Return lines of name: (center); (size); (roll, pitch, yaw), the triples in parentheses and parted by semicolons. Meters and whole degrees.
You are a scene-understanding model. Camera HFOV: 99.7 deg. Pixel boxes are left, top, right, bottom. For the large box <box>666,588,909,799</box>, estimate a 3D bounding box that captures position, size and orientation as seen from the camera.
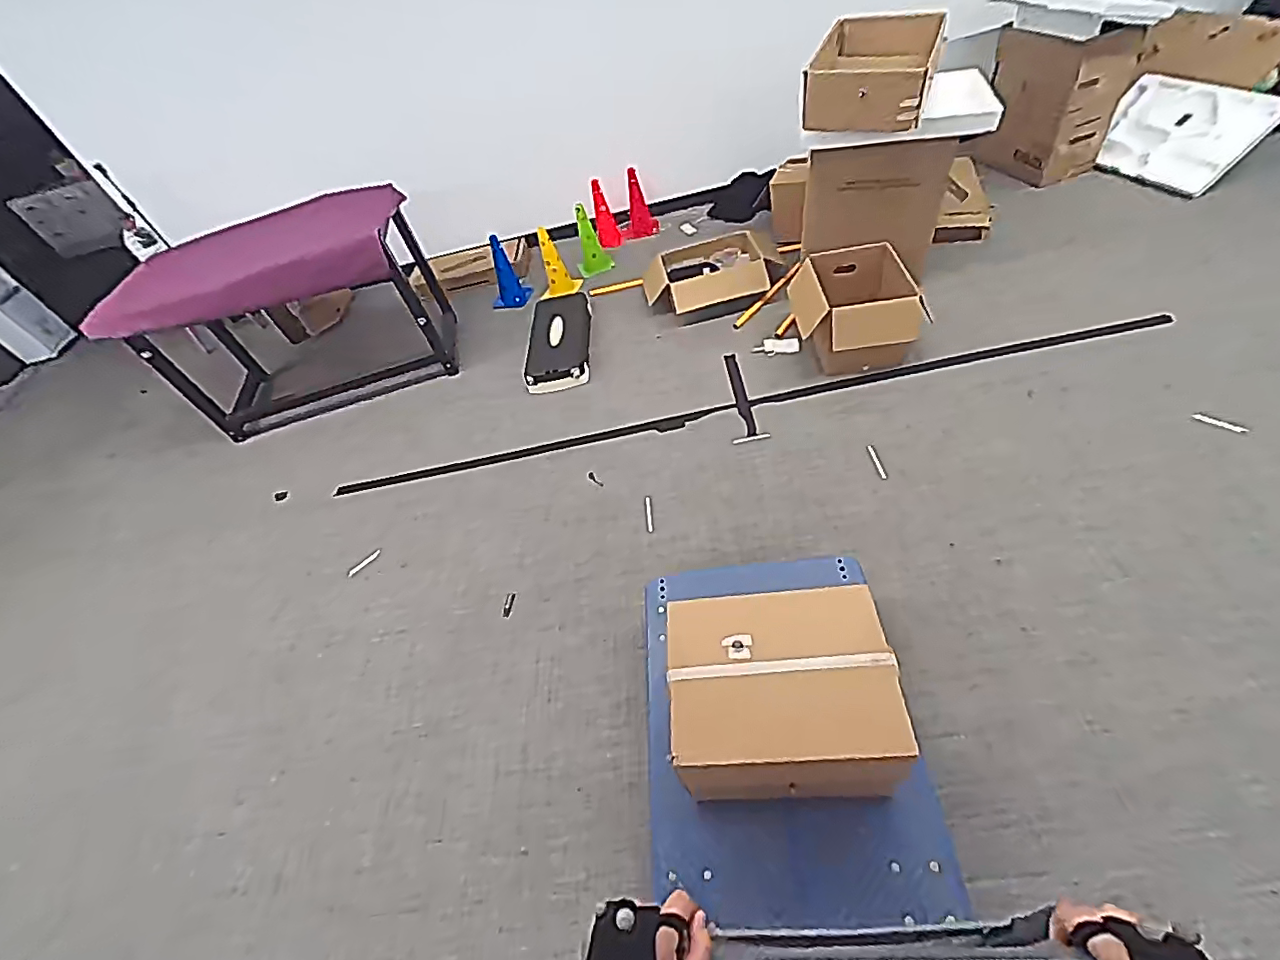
large box: (0.283, 0.455, 1.126); (0.408, 0.320, 0.320); (-8, 48, 9)
